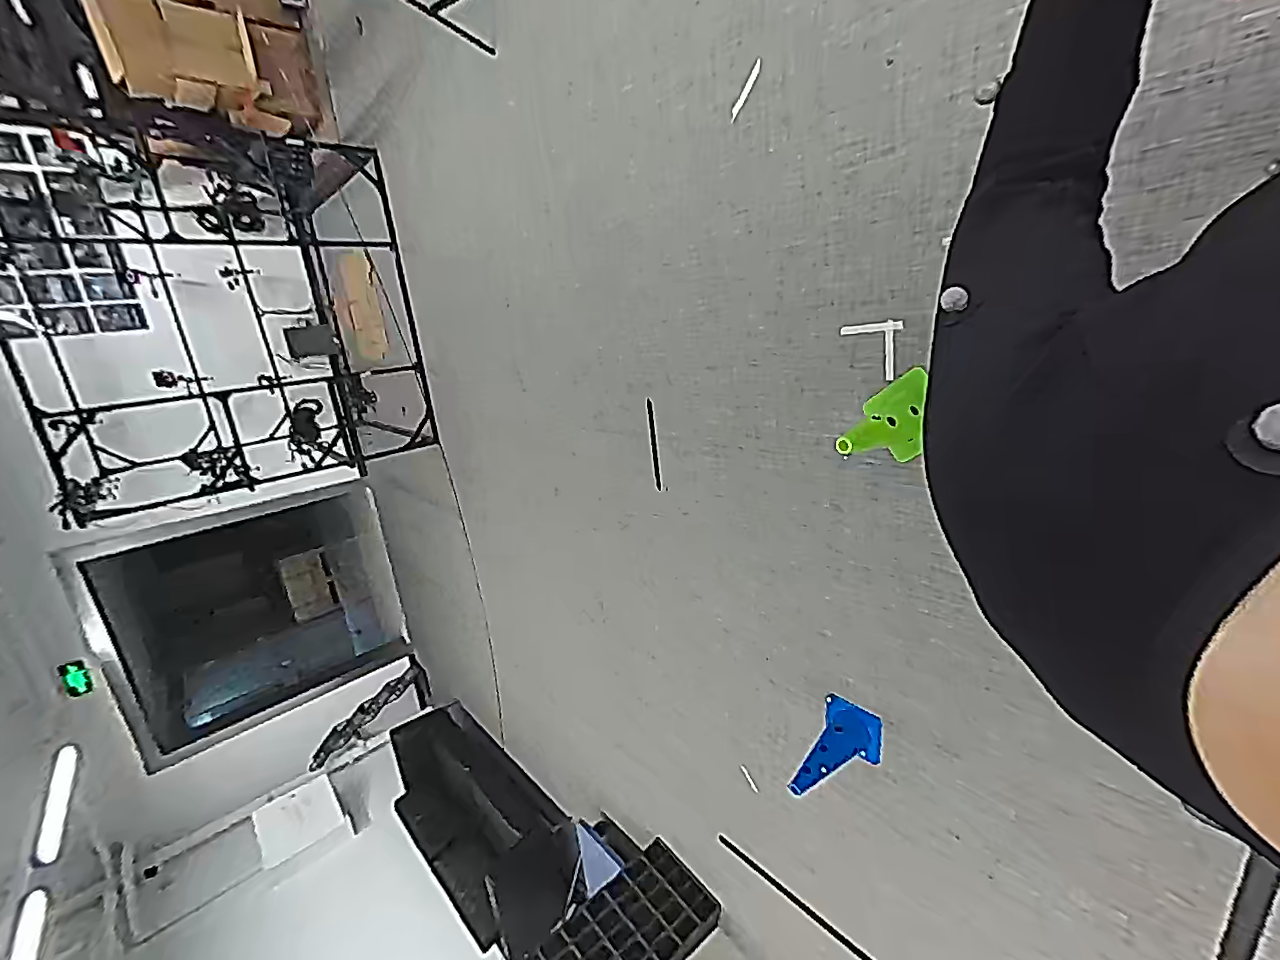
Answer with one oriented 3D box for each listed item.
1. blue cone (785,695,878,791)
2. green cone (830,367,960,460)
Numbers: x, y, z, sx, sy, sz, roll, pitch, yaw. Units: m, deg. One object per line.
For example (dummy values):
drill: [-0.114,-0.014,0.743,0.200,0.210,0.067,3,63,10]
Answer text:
blue cone: [0.615,0.911,1.798,0.192,0.380,0.193,18,118,47]
green cone: [0.594,-0.130,1.354,0.200,0.368,0.202,61,143,13]
